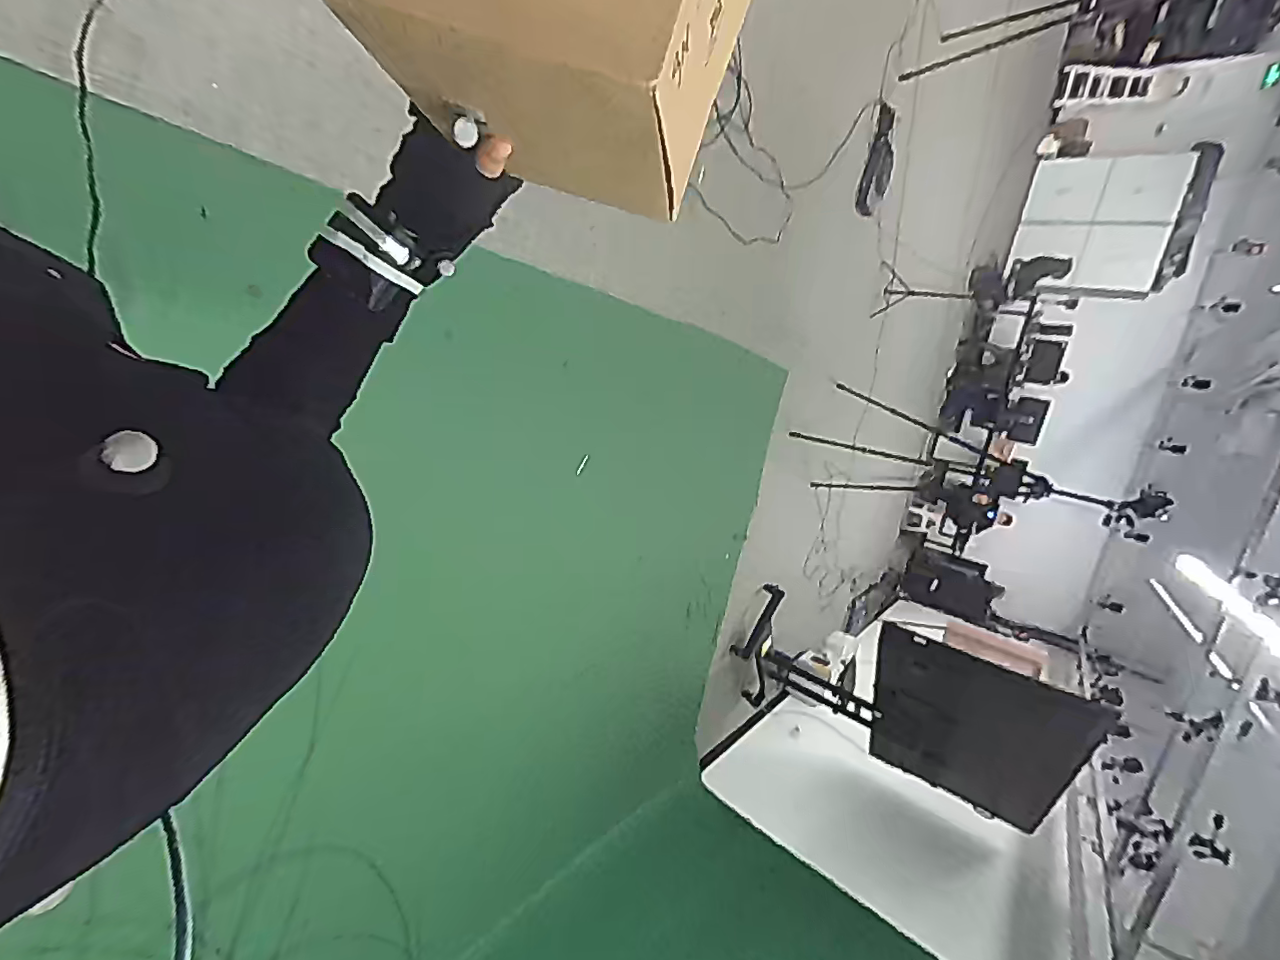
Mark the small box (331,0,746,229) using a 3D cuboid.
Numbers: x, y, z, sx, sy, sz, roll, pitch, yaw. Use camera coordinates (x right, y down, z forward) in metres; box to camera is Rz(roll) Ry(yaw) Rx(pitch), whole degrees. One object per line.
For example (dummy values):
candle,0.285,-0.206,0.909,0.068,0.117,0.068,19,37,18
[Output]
small box,-0.037,-0.276,0.308,0.179,0.176,0.168,-58,166,-81
